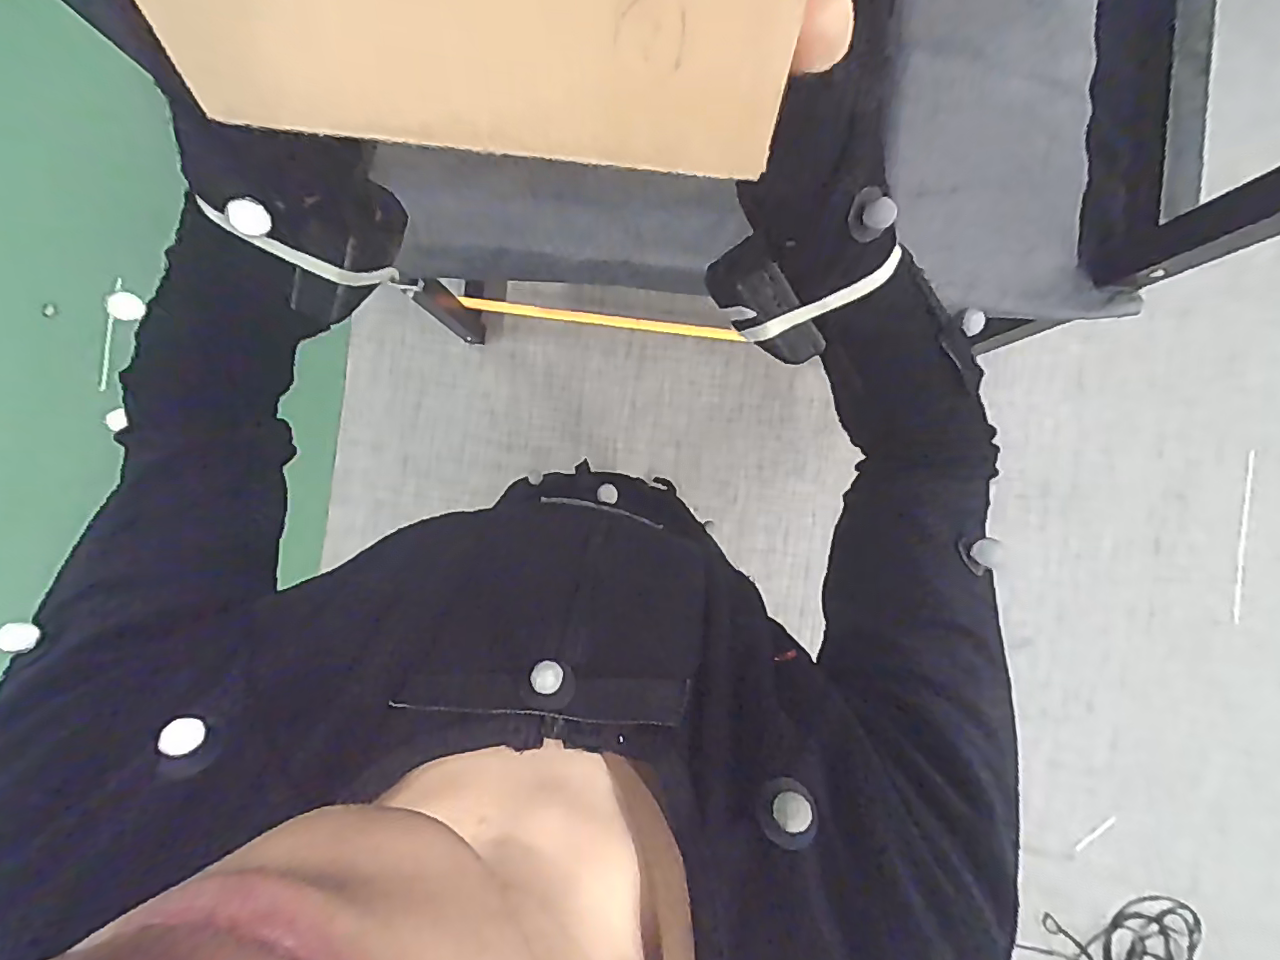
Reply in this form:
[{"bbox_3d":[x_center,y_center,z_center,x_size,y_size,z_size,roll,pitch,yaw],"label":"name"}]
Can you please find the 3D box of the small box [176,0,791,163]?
[{"bbox_3d":[-0.031,-0.219,0.129,0.168,0.179,0.176,6,62,0],"label":"small box"}]
